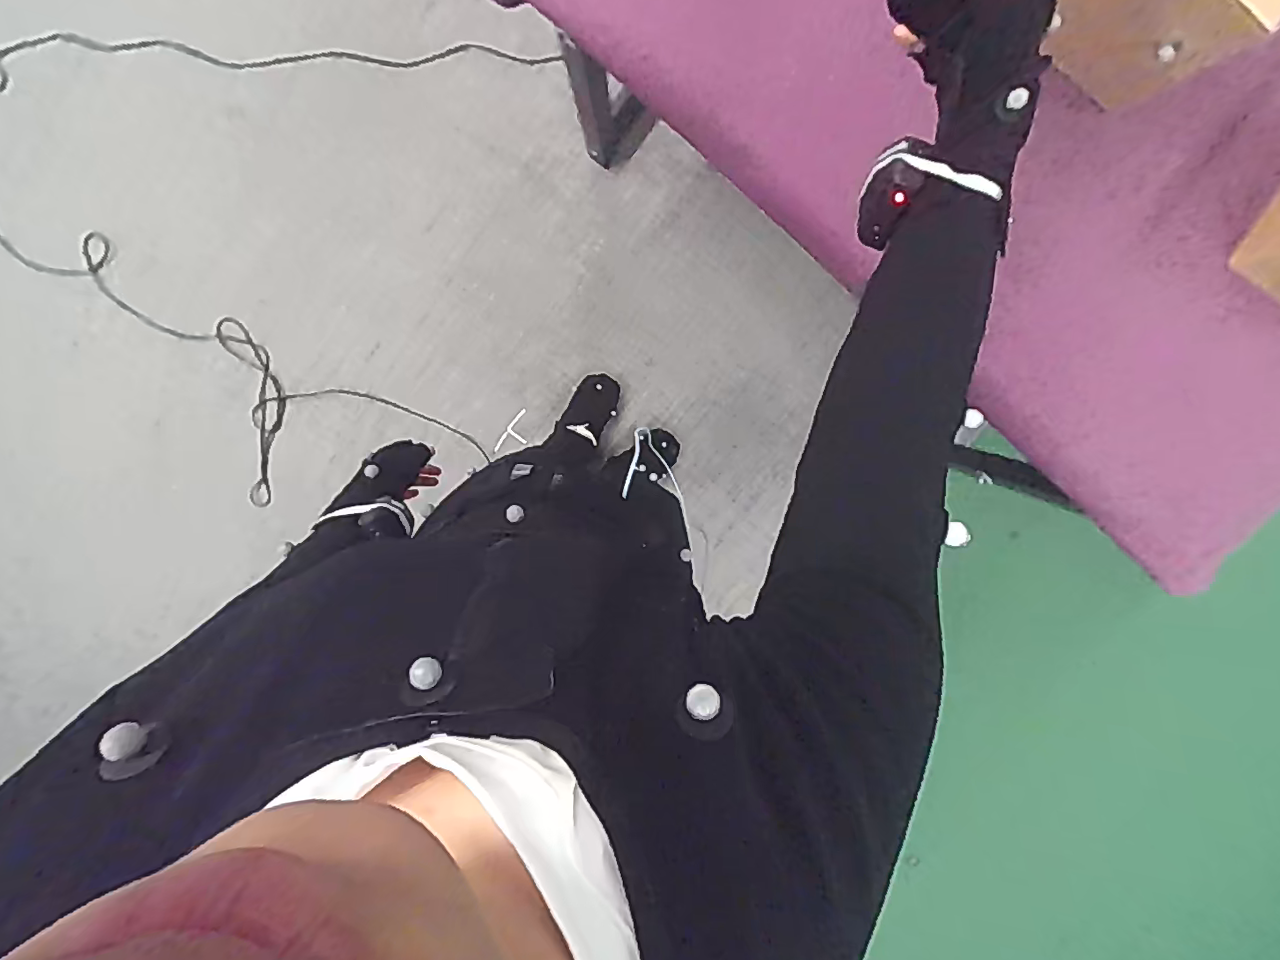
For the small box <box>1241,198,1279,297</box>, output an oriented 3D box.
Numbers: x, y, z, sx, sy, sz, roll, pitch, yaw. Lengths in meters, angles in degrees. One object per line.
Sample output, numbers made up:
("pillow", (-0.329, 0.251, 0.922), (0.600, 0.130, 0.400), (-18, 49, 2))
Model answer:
("small box", (0.833, -0.278, 0.582), (0.168, 0.176, 0.179), (29, 101, -6))
